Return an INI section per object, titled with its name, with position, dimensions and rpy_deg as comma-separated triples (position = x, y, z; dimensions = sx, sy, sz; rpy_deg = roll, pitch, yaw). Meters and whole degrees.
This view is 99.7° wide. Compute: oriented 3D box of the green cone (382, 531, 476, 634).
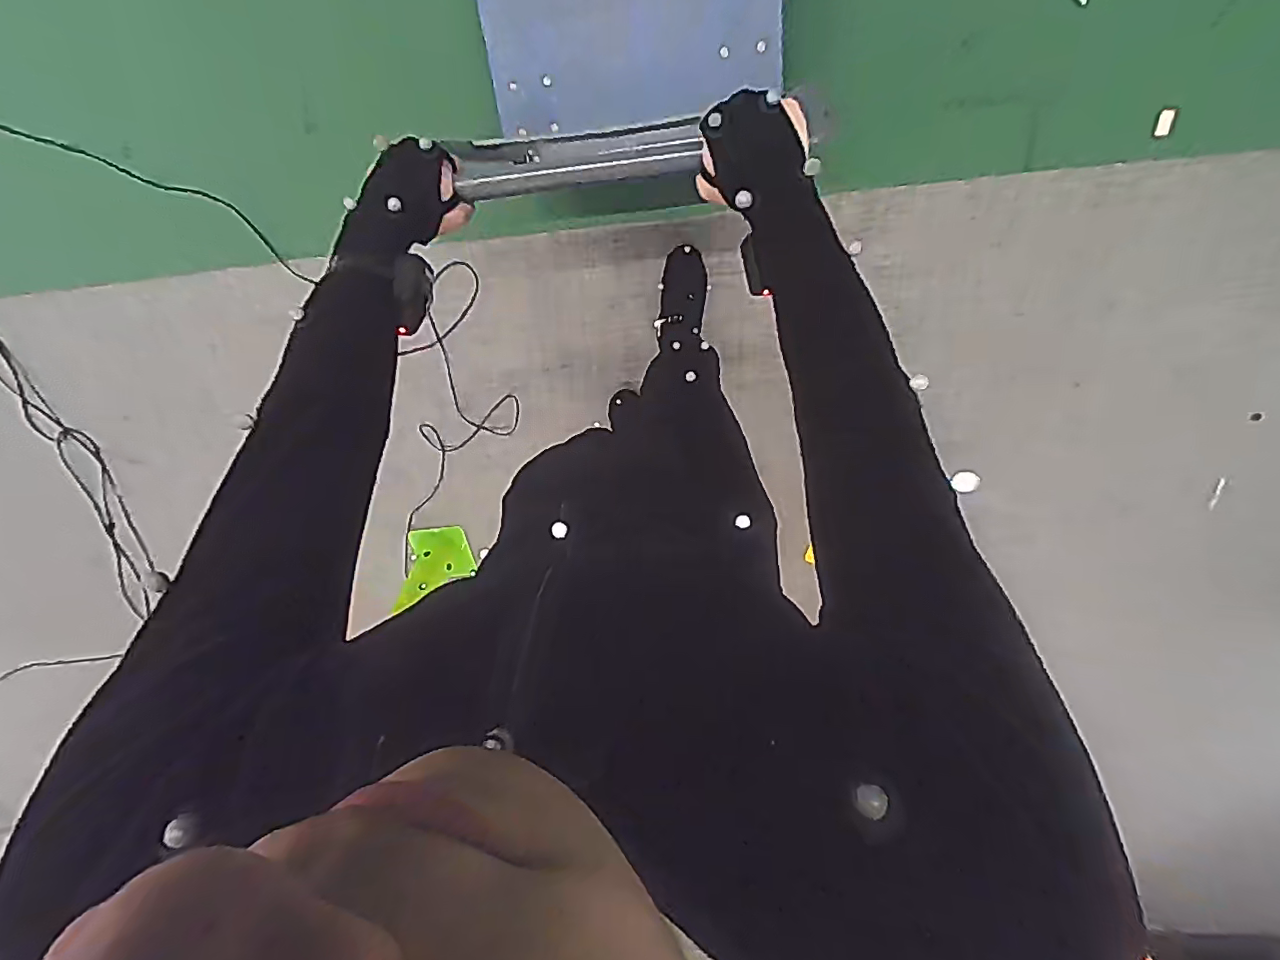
[green cone]
position = -0.694, 0.340, 1.695
dimensions = 0.202, 0.368, 0.200
rpy_deg = -6, 116, 10
